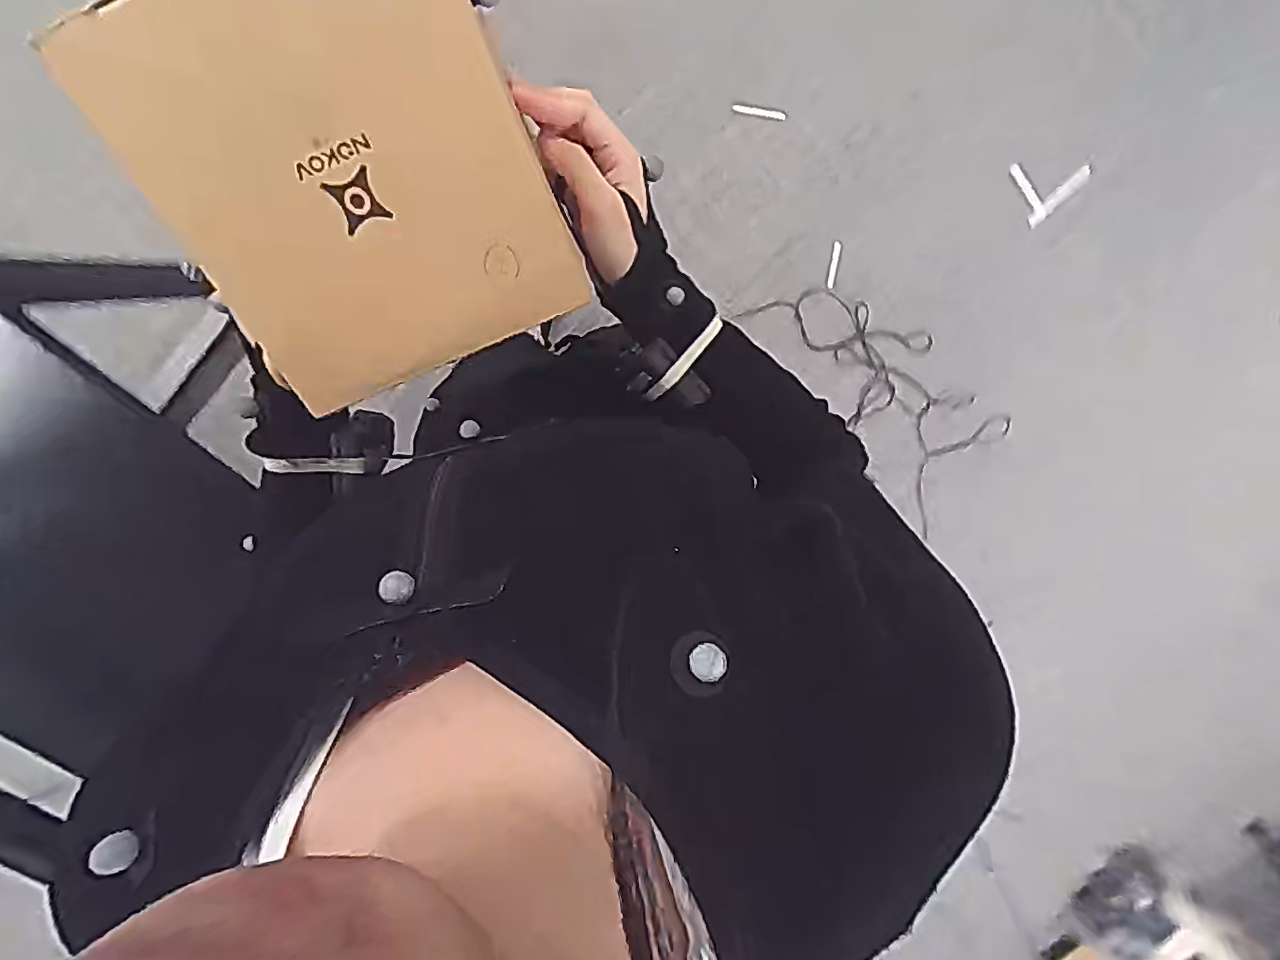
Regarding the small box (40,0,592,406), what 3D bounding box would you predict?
[{"bbox_3d":[-0.136,-0.175,0.312,0.168,0.176,0.179,-21,120,4],"label":"small box"}]
